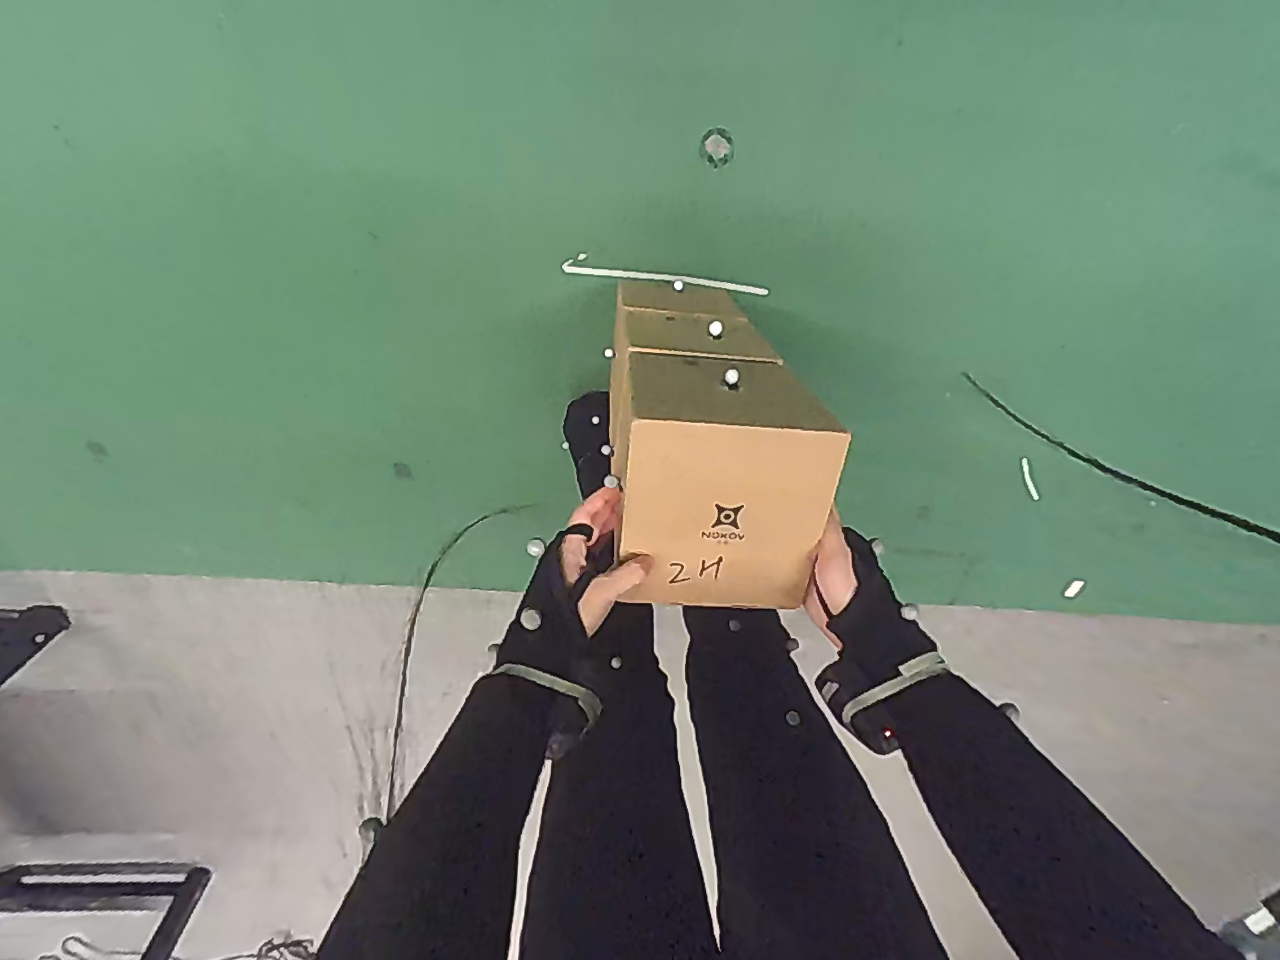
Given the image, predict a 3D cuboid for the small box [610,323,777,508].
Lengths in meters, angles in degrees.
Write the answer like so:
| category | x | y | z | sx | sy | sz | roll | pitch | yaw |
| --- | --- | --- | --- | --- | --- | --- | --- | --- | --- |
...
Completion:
| category | x | y | z | sx | sy | sz | roll | pitch | yaw |
| --- | --- | --- | --- | --- | --- | --- | --- | --- | --- |
| small box | 0.051 | -0.085 | 0.666 | 0.168 | 0.176 | 0.179 | 3 | 121 | -6 |
